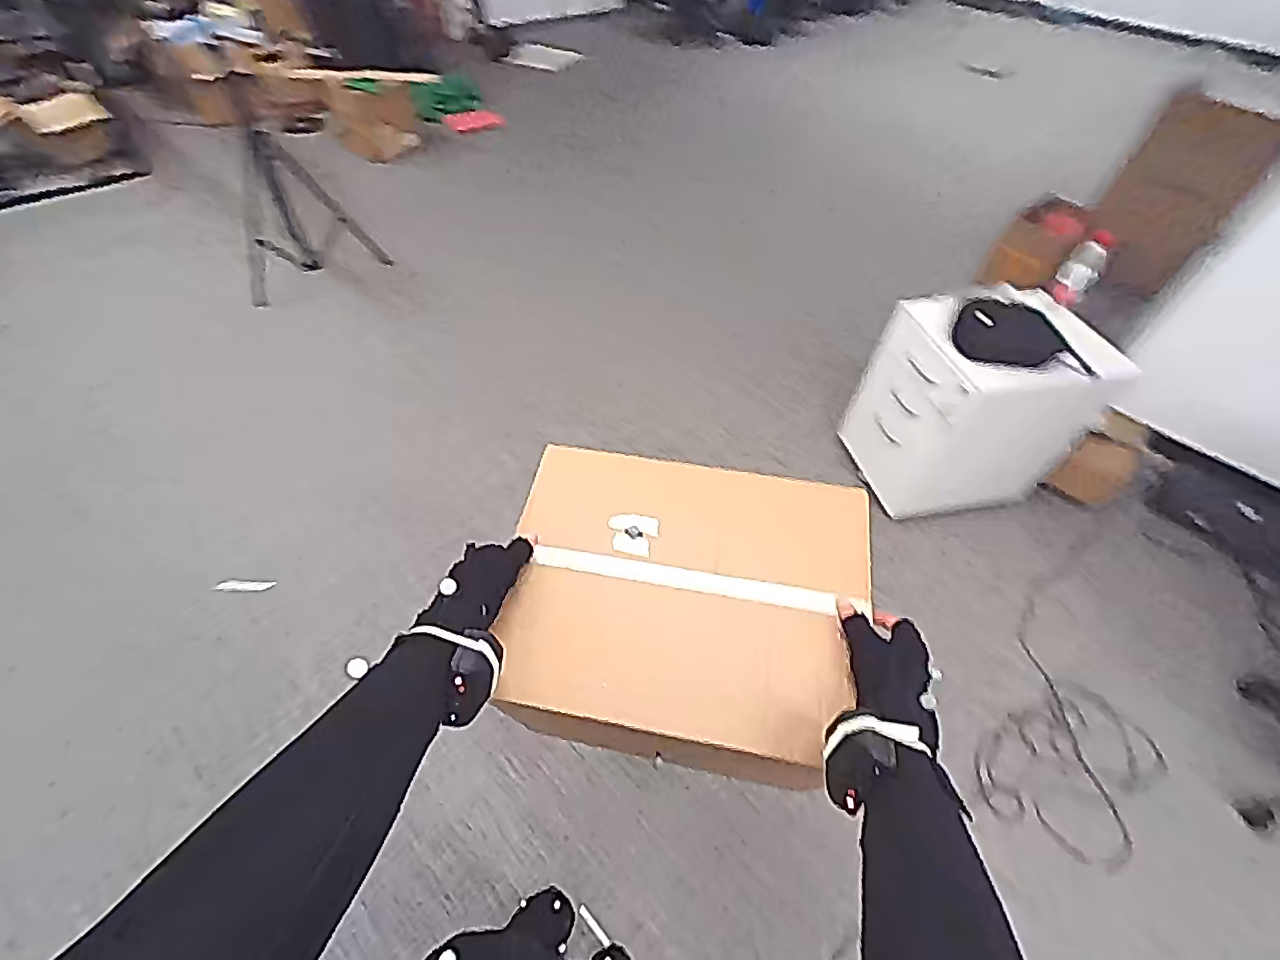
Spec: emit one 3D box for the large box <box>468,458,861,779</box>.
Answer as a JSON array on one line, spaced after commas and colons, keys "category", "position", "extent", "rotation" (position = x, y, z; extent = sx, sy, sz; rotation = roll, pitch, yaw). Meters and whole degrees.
[{"category": "large box", "position": [0.048, 0.199, 0.739], "extent": [0.408, 0.320, 0.320], "rotation": [8, 58, 7]}]
